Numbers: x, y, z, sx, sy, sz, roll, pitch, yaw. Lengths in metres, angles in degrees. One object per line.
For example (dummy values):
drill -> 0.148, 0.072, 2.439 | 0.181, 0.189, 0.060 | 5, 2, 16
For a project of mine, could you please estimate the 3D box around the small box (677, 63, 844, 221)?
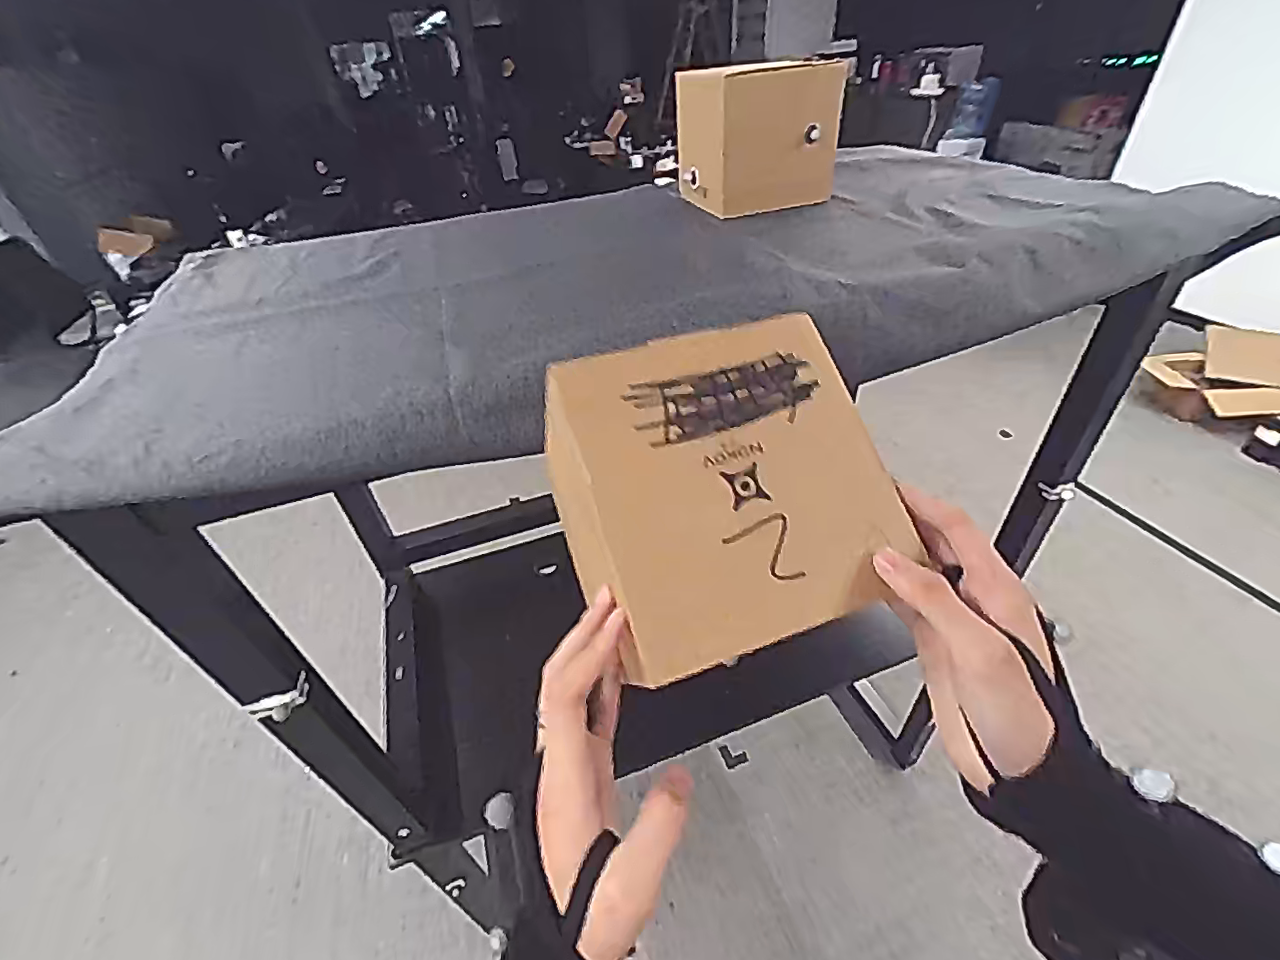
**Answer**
small box -> 0.161, -0.491, 0.782 | 0.179, 0.176, 0.168 | -15, 39, -11
